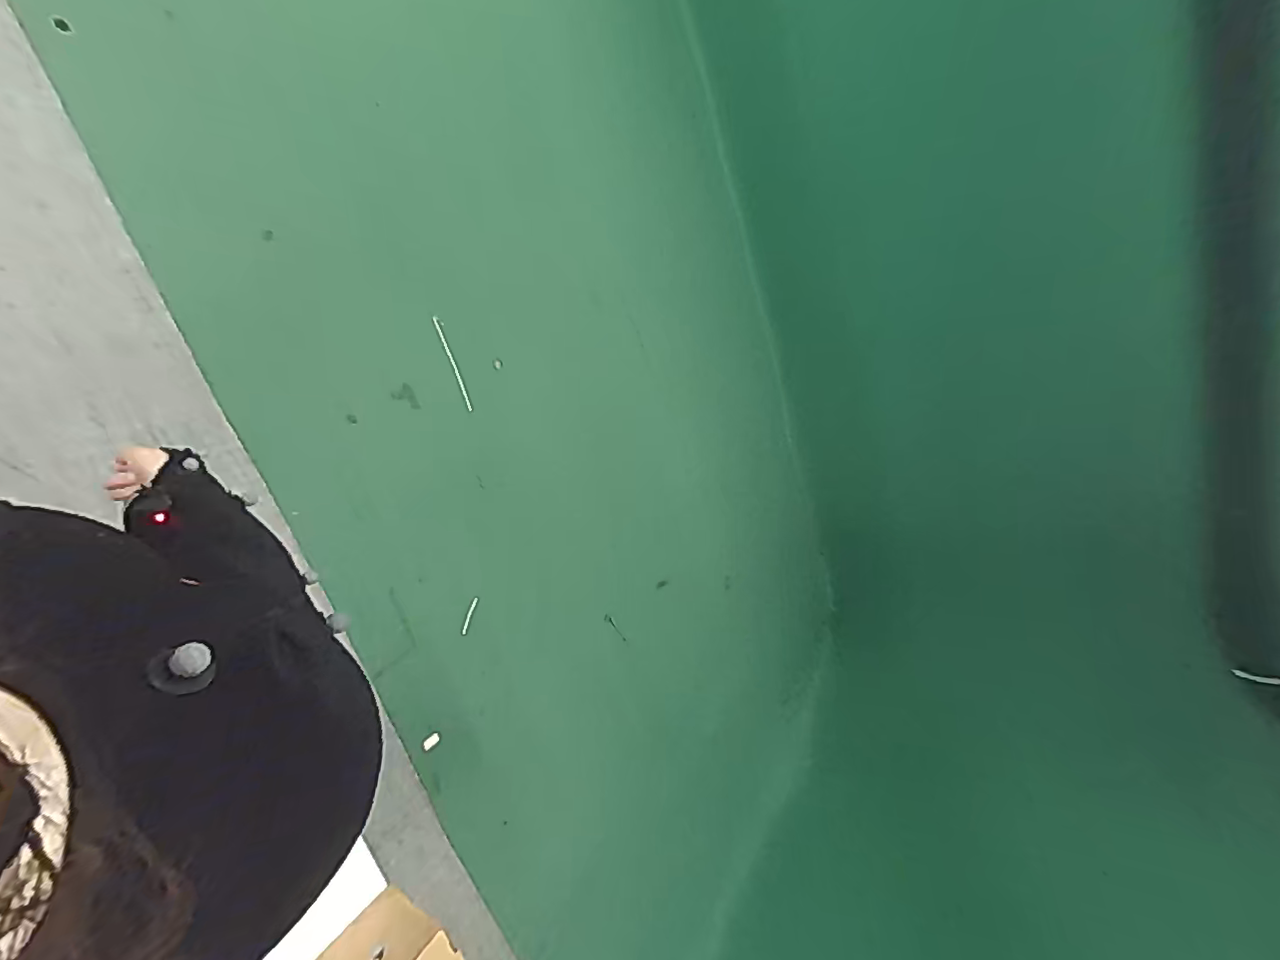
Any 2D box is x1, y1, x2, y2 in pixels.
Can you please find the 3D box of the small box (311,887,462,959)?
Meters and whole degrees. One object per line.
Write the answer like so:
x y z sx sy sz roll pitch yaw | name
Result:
-0.387 0.774 0.818 0.179 0.176 0.168 -35 112 -48 | small box
